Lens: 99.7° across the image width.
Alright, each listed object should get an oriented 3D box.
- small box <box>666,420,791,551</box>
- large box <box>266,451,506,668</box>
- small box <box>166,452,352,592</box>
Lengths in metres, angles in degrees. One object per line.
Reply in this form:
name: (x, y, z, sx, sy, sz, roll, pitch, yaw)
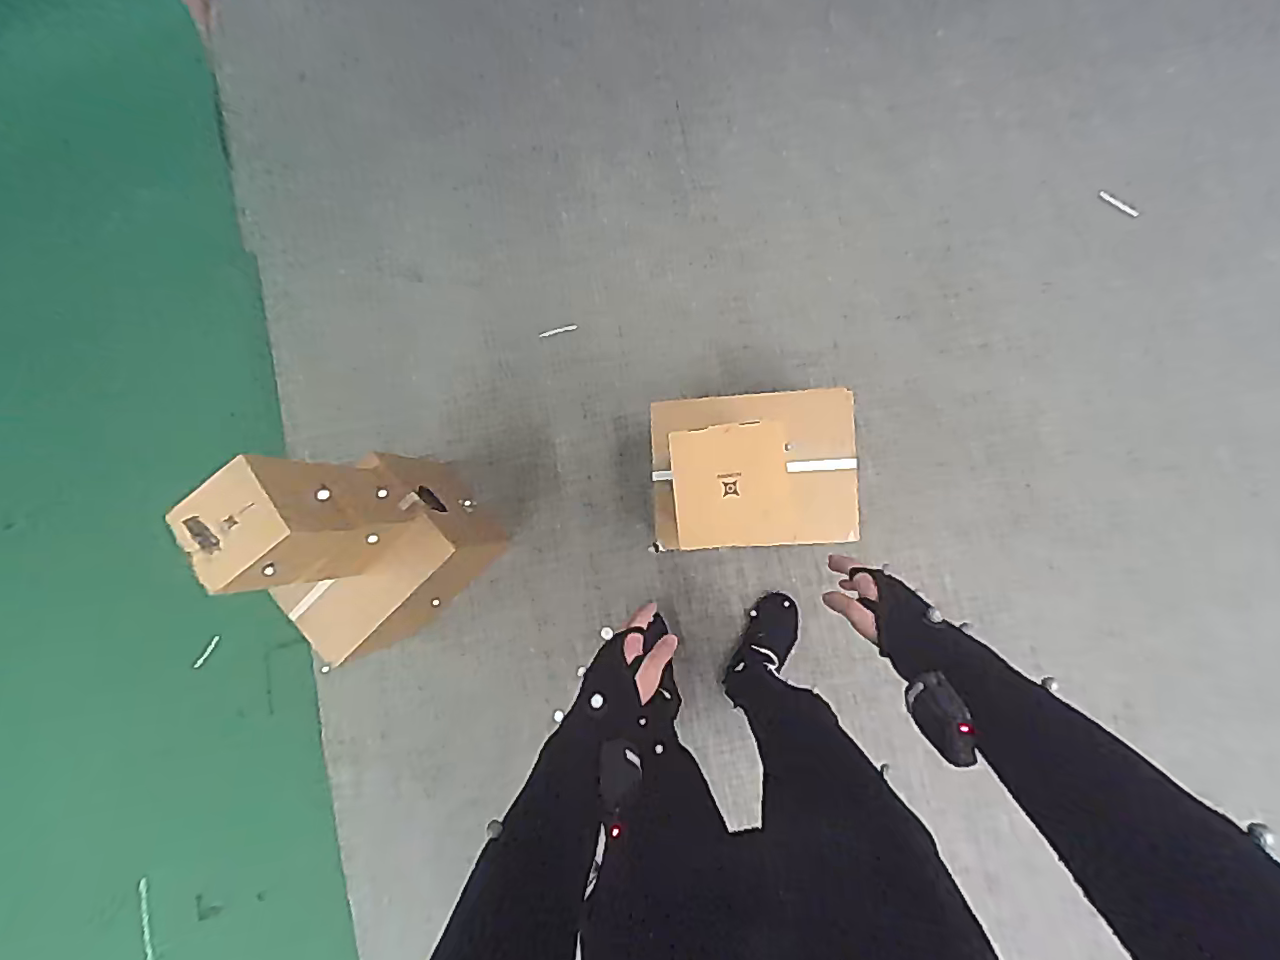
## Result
small box: (0.139, 0.012, 0.849, 0.168, 0.176, 0.179, -6, 85, 8)
large box: (-0.621, 0.183, 1.361, 0.408, 0.320, 0.320, -44, 81, 5)
small box: (-0.662, 0.075, 0.958, 0.179, 0.176, 0.168, -37, 82, 4)
